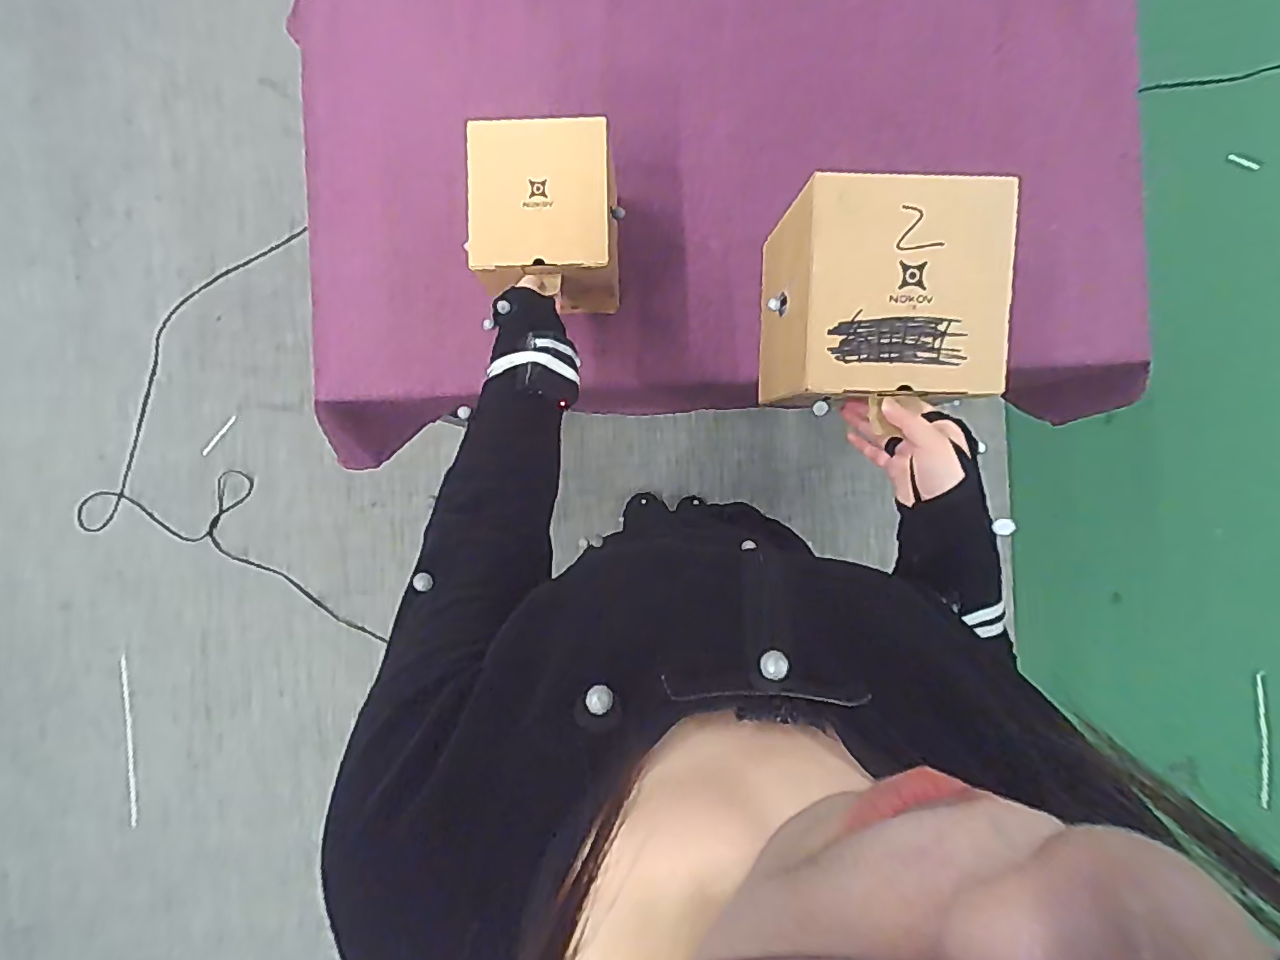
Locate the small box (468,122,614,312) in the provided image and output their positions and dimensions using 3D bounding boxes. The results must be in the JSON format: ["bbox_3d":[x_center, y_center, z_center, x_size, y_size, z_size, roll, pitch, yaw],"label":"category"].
[{"bbox_3d":[-0.123,-0.338,0.723,0.168,0.176,0.179,-1,90,1],"label":"small box"}]
